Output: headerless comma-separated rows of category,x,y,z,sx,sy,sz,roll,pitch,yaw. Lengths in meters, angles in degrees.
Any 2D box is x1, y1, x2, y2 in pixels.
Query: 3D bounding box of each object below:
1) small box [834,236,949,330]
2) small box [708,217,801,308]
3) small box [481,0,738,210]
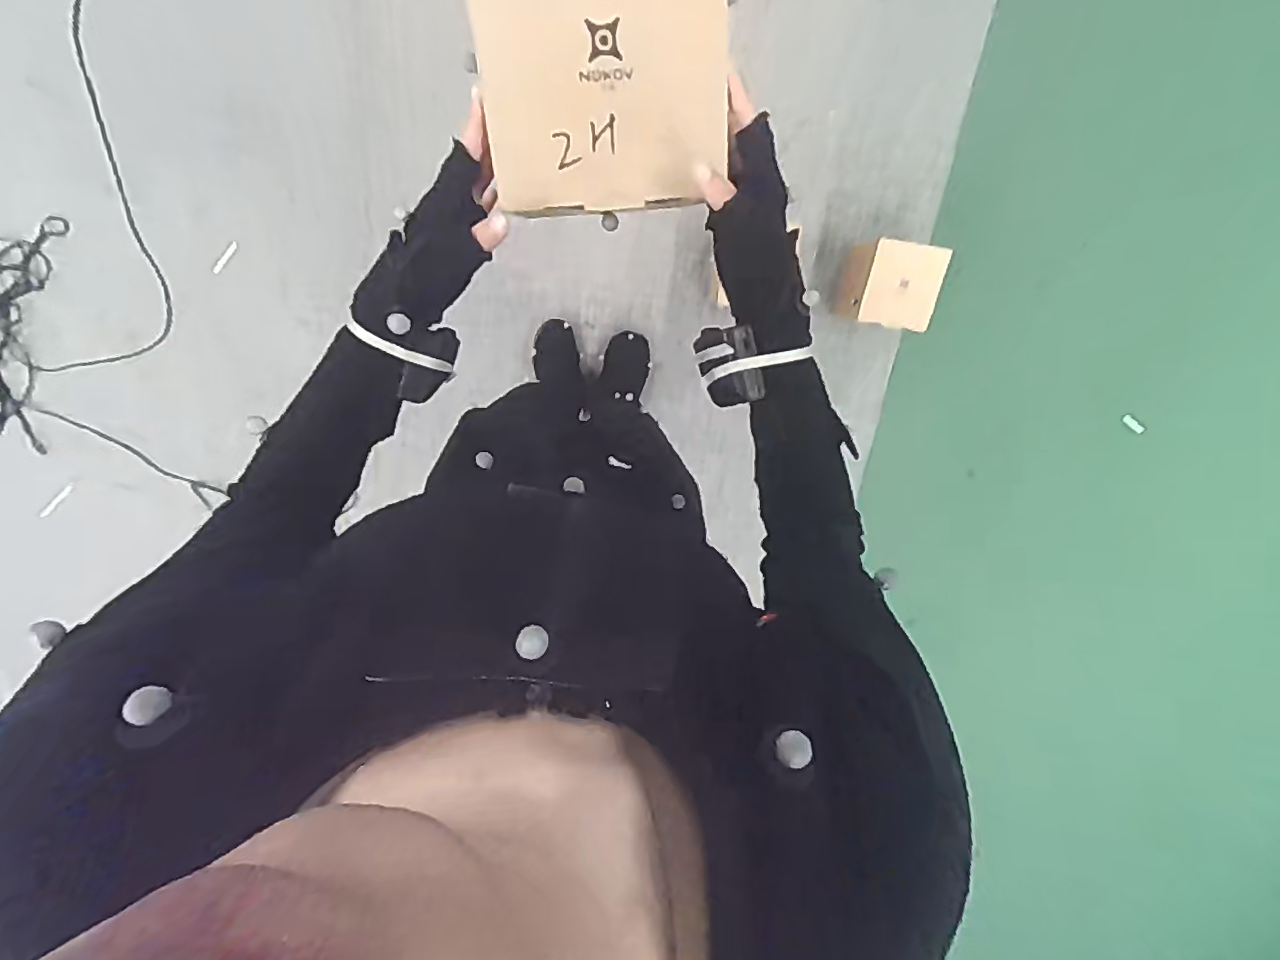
small box,0.575,-0.458,1.262,0.168,0.176,0.179,8,110,-3
small box,0.253,-0.494,1.239,0.168,0.176,0.179,2,110,-3
small box,-0.025,-0.316,0.422,0.168,0.176,0.179,-5,115,-2
